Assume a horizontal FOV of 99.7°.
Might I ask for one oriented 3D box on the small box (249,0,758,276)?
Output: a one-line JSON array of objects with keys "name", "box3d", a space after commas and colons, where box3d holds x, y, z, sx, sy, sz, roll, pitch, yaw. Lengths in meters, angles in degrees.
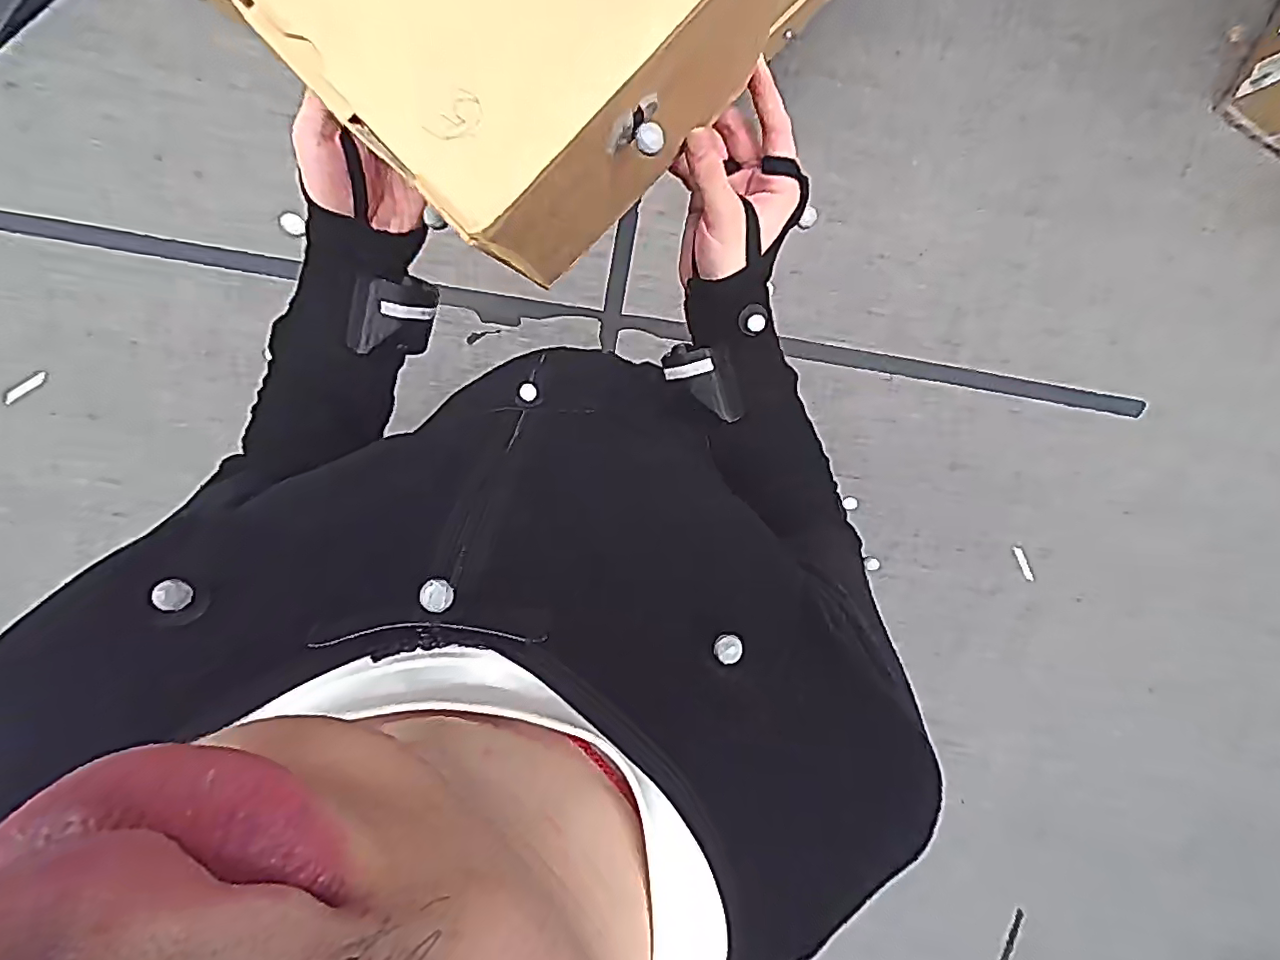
[{"name": "small box", "box3d": [-0.055, -0.226, 0.264, 0.179, 0.176, 0.168, -42, 101, 9]}]
